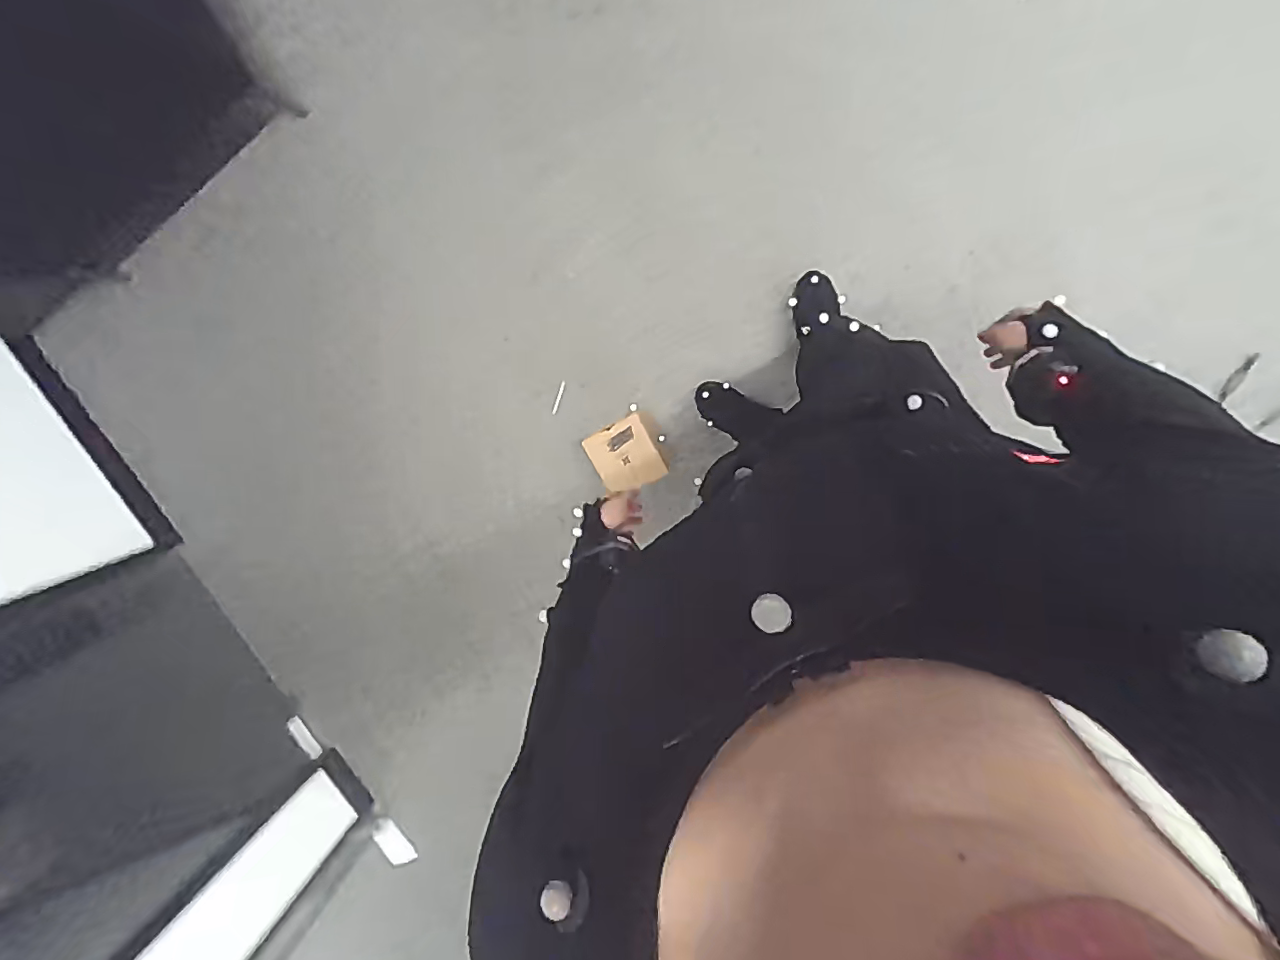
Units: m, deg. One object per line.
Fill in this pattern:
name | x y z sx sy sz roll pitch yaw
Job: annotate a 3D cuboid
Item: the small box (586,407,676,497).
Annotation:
small box | -0.017 -0.083 1.445 0.168 0.176 0.179 -27 100 16
